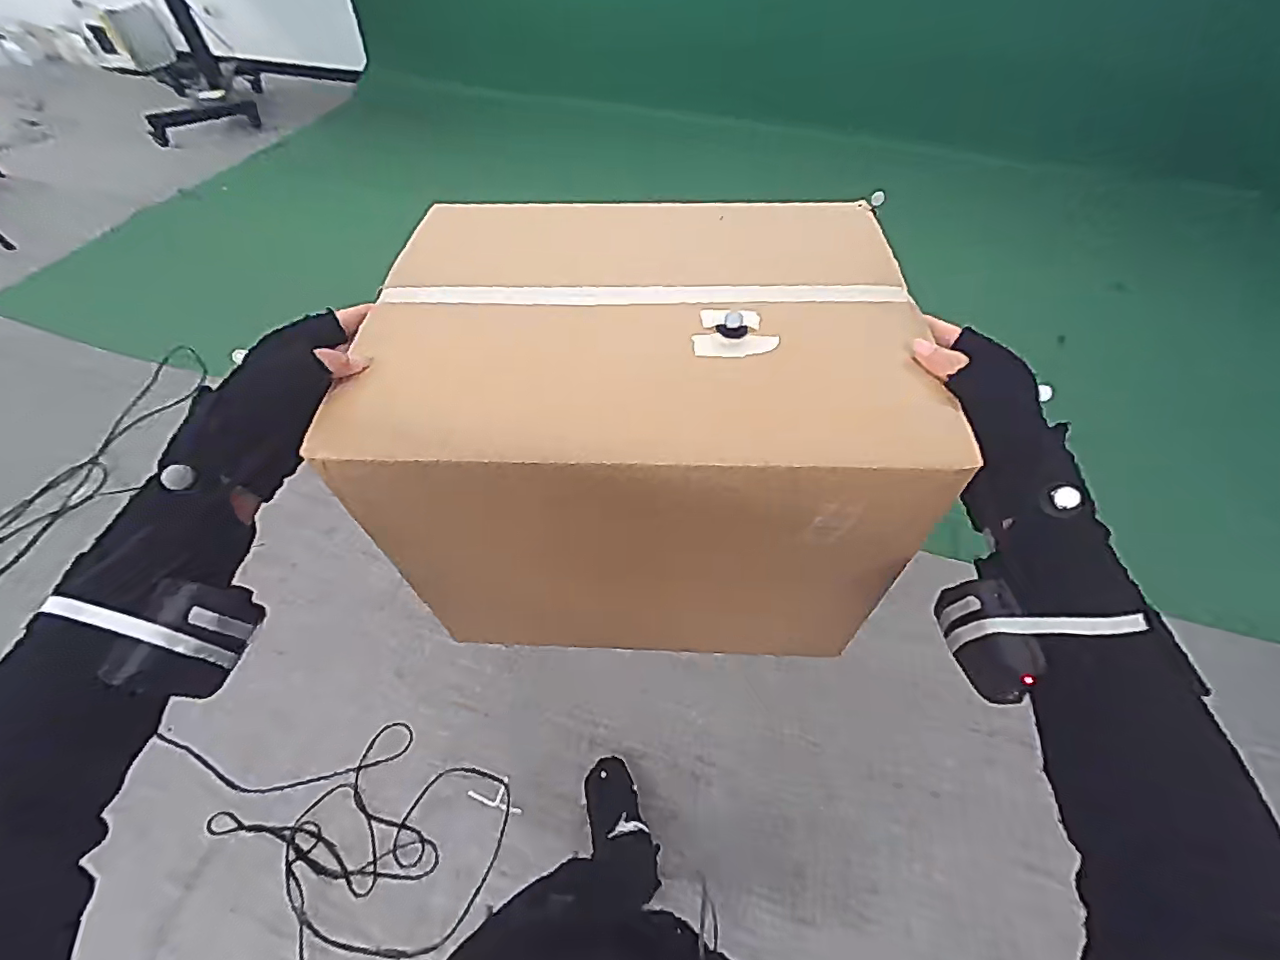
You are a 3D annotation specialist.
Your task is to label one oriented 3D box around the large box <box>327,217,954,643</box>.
[{"bbox_3d":[0.002,-0.039,0.544,0.408,0.320,0.320,1,53,2],"label":"large box"}]
